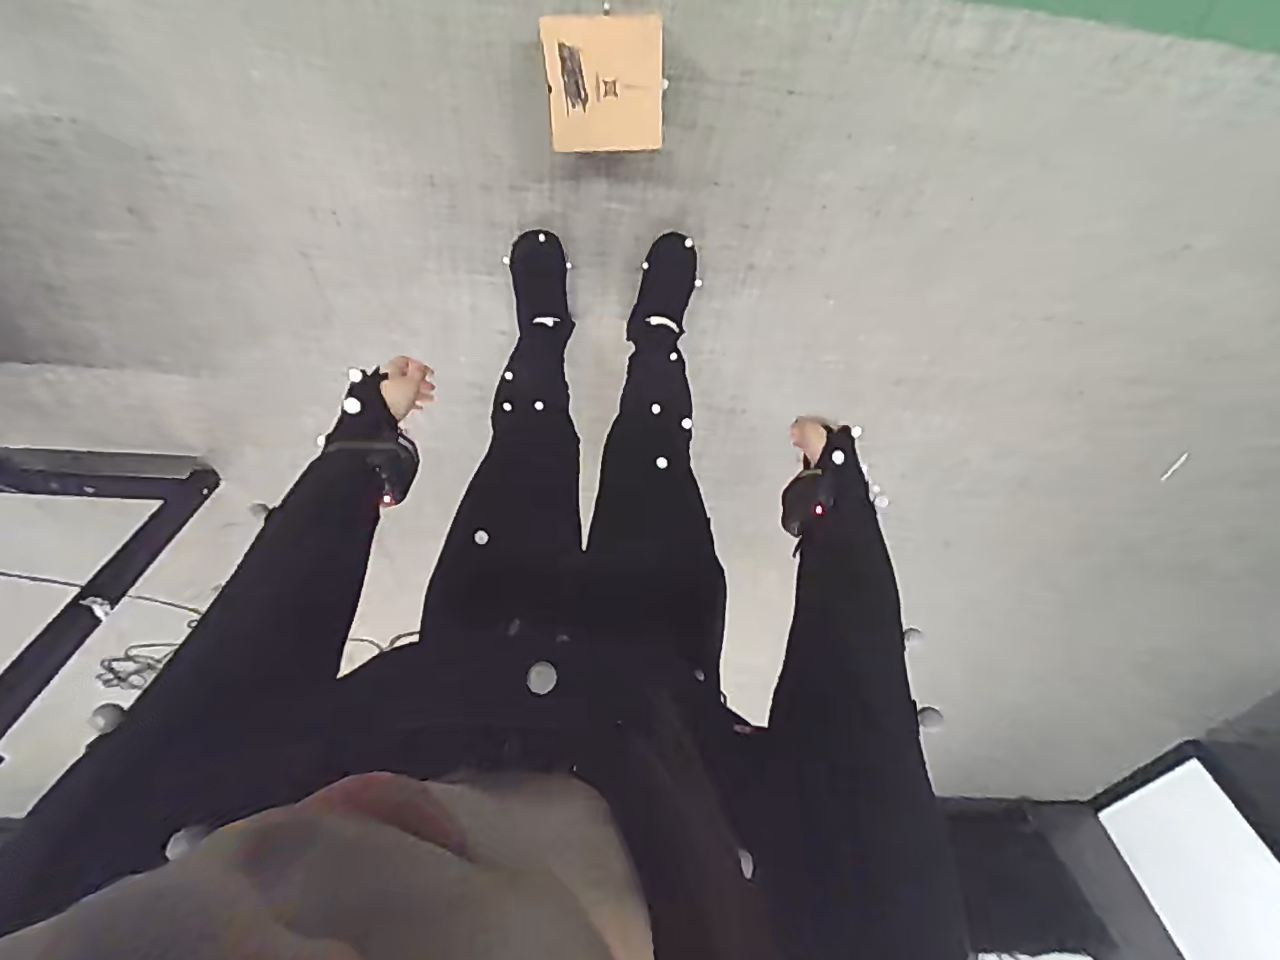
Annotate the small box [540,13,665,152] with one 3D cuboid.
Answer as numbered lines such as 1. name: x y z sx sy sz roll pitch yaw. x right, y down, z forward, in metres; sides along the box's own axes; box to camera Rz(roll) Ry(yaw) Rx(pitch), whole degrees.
1. small box: -0.054 -0.629 0.856 0.179 0.176 0.168 -2 131 -1
